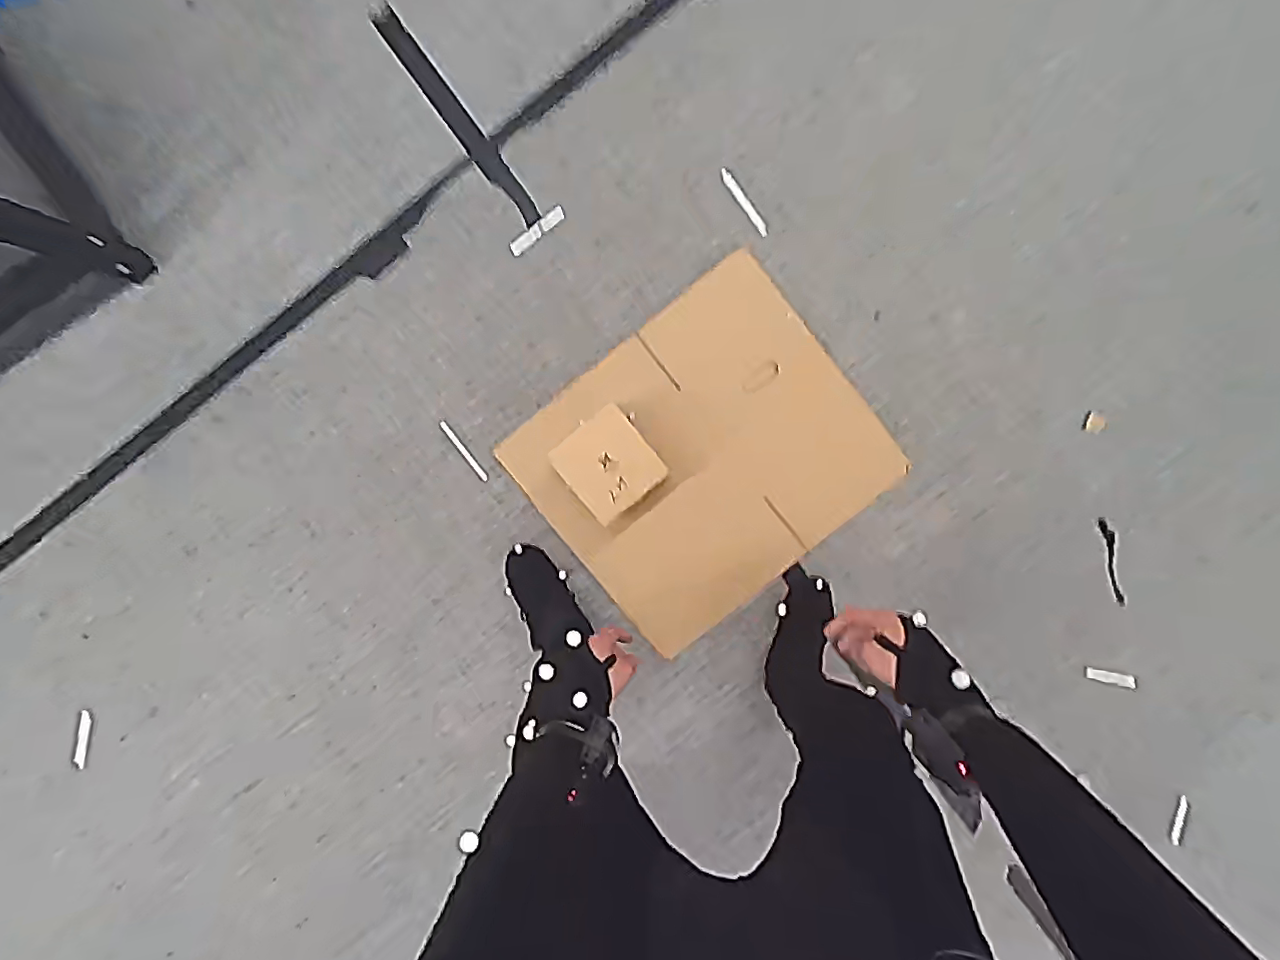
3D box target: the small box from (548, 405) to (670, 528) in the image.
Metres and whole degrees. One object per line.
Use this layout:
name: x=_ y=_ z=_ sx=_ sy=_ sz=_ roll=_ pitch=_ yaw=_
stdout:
small box: x=-0.060 y=-0.029 z=1.092 sx=0.168 sy=0.176 sz=0.179 roll=-39 pitch=94 yaw=3
